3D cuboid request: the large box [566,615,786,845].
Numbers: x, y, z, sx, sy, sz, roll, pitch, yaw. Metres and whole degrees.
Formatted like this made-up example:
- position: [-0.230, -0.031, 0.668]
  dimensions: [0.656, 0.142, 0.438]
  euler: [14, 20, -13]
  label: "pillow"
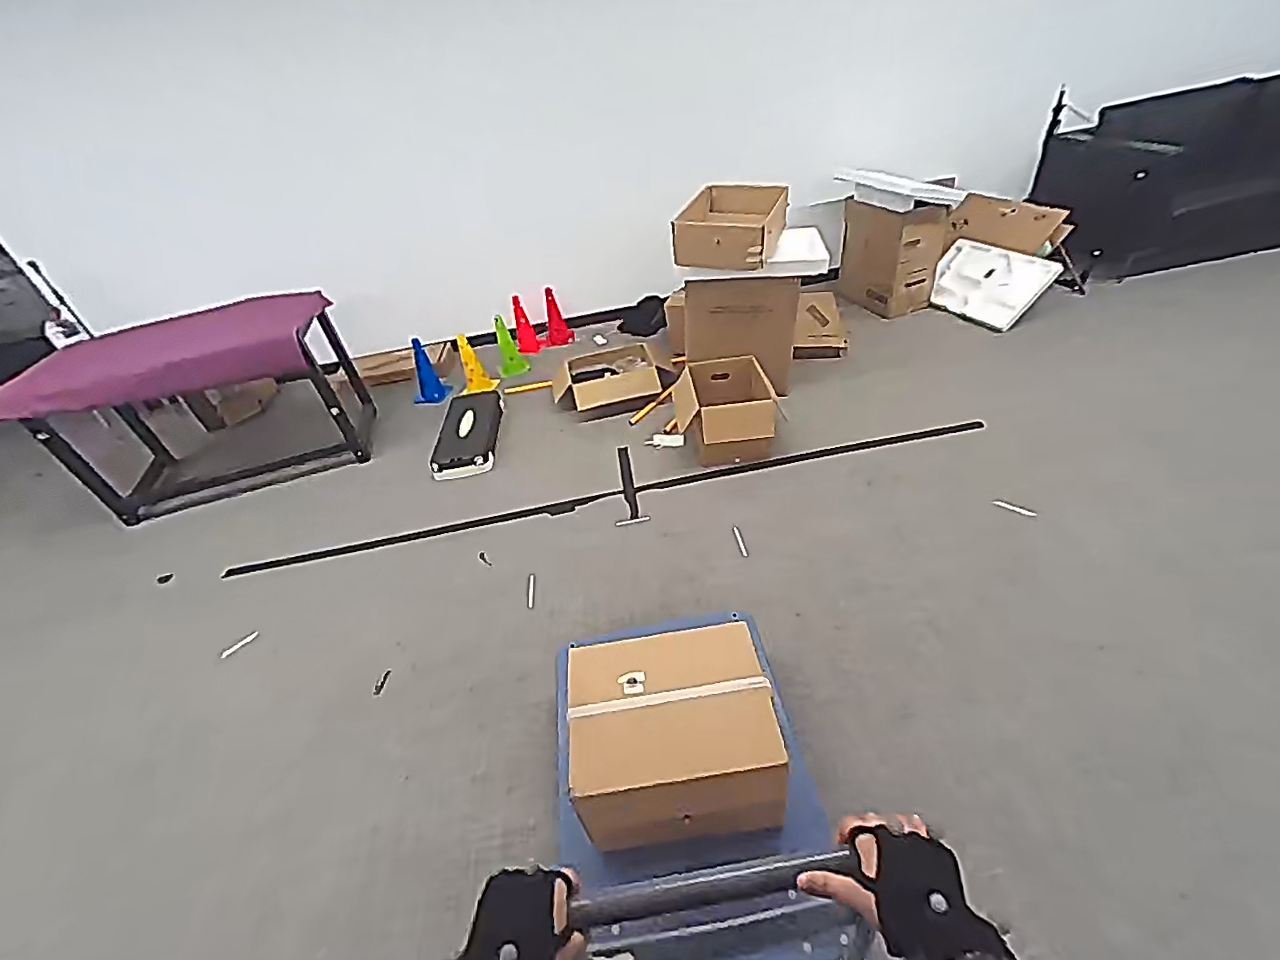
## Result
- position: [0.072, 0.542, 1.175]
  dimensions: [0.408, 0.320, 0.320]
  euler: [-10, 38, 1]
  label: "large box"
